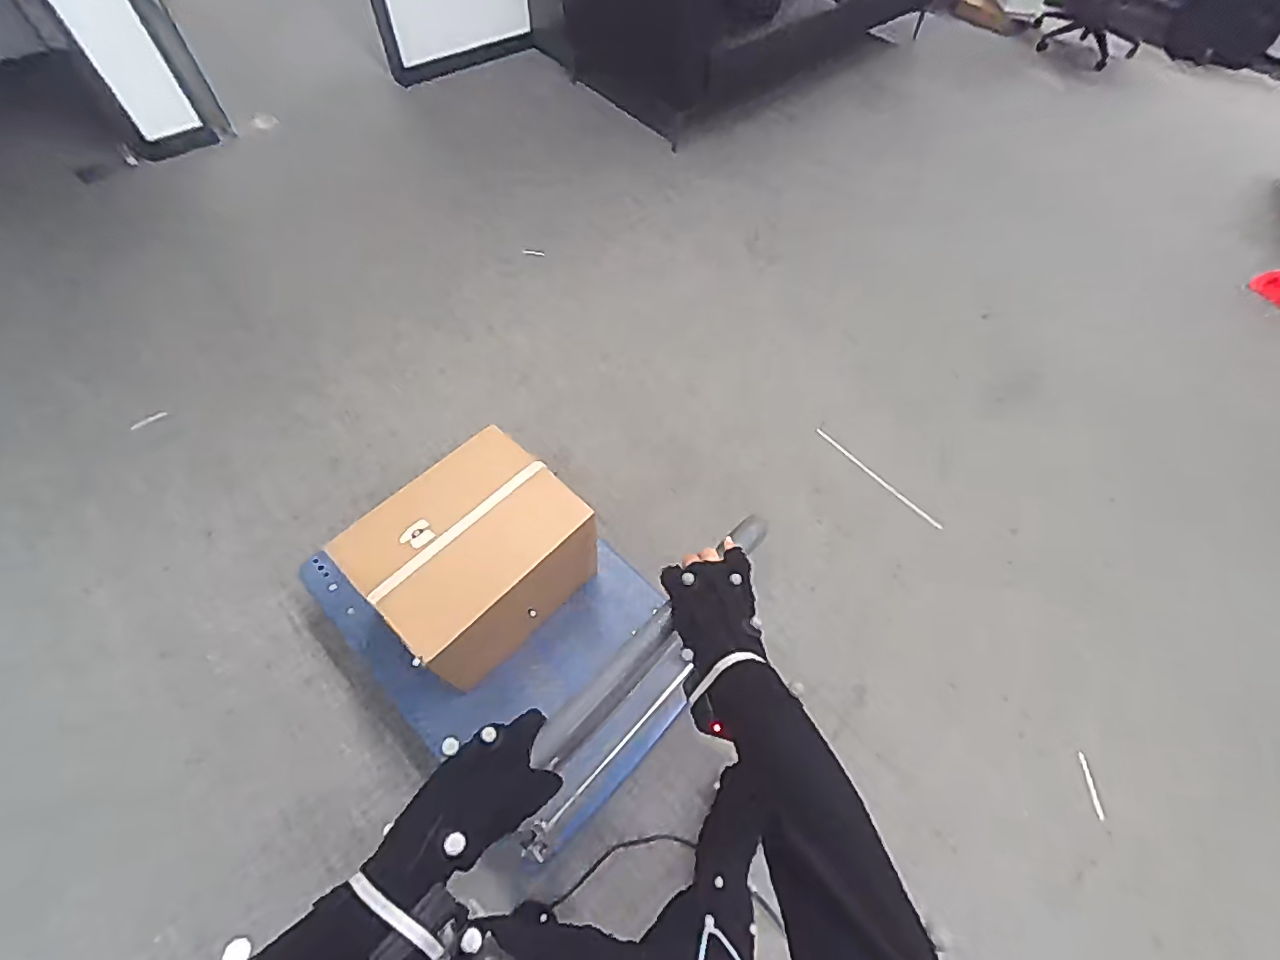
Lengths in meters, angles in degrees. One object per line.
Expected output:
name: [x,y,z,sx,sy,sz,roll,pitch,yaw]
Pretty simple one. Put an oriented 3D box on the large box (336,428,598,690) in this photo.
large box: [-0.333,0.173,1.166,0.320,0.320,0.408,39,65,18]
